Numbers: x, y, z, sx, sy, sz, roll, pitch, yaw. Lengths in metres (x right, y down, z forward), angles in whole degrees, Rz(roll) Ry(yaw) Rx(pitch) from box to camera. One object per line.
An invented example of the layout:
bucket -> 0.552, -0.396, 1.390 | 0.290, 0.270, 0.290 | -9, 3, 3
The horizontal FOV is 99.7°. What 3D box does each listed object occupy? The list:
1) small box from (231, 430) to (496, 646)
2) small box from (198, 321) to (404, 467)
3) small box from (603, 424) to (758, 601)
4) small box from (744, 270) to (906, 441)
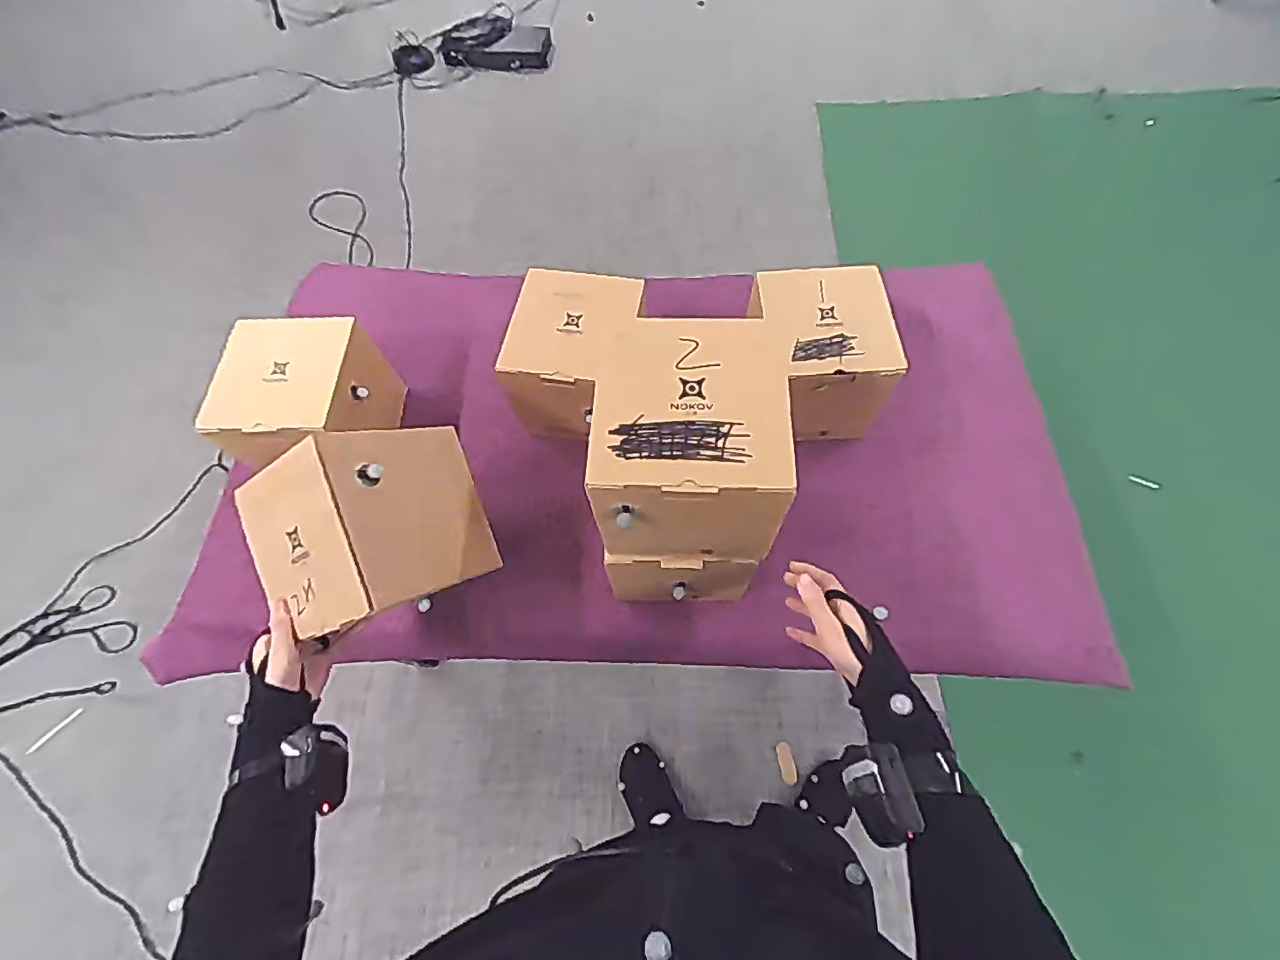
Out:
small box -> -0.289, 0.053, 0.582 | 0.168, 0.176, 0.179 | -22, 86, 31
small box -> -0.457, -0.103, 0.766 | 0.168, 0.176, 0.179 | 0, 65, 2
small box -> 0.048, 0.047, 0.668 | 0.168, 0.176, 0.179 | 0, 64, 2
small box -> 0.244, -0.164, 0.759 | 0.168, 0.176, 0.179 | -2, 63, 2
